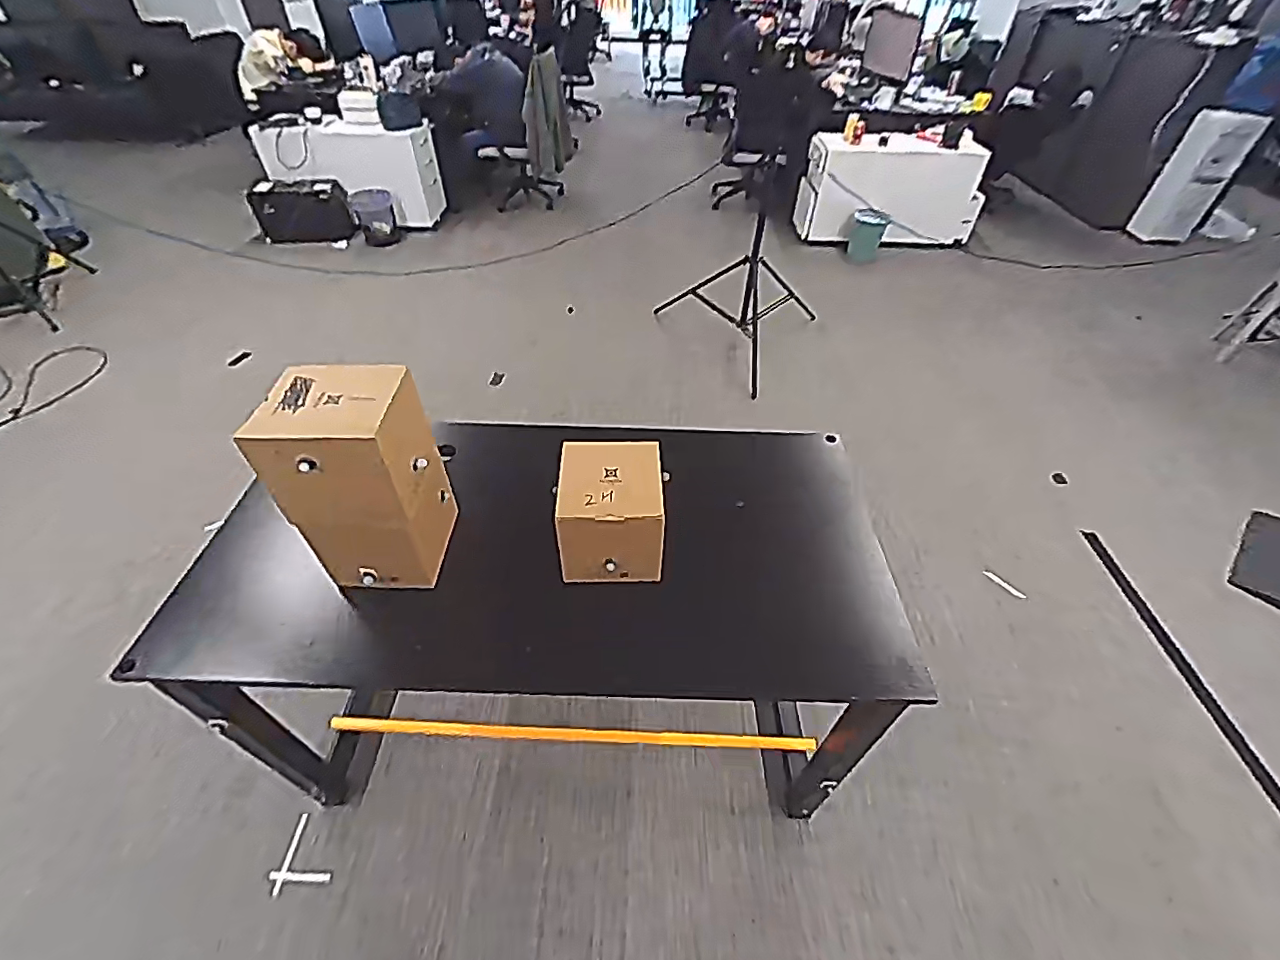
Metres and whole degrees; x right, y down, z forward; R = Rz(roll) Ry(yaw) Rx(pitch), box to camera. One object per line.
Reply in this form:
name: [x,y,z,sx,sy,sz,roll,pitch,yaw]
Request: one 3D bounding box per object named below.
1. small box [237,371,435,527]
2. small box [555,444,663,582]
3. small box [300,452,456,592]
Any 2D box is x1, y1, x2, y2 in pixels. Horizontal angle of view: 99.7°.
small box: [-0.423,-0.043,0.791,0.179,0.176,0.168,-1,45,-2]
small box: [-0.051,0.055,0.929,0.168,0.176,0.179,-1,45,-2]
small box: [-0.423,0.069,0.911,0.168,0.176,0.179,-1,45,0]
